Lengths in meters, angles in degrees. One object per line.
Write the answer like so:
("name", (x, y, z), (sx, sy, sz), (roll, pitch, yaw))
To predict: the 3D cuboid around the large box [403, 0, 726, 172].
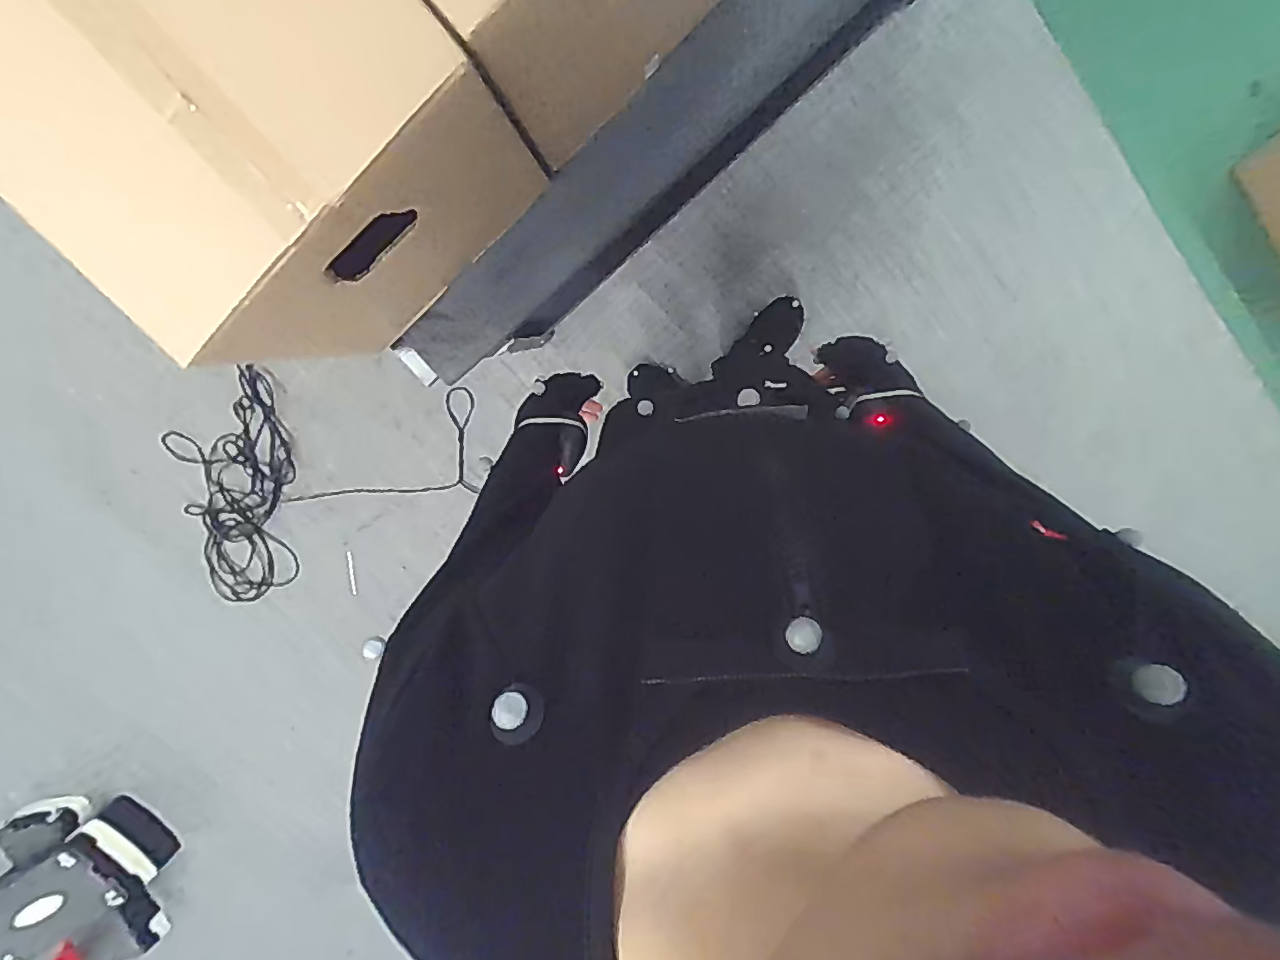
("large box", (-0.124, -0.566, 0.445), (0.320, 0.320, 0.408), (-41, 100, 12))
